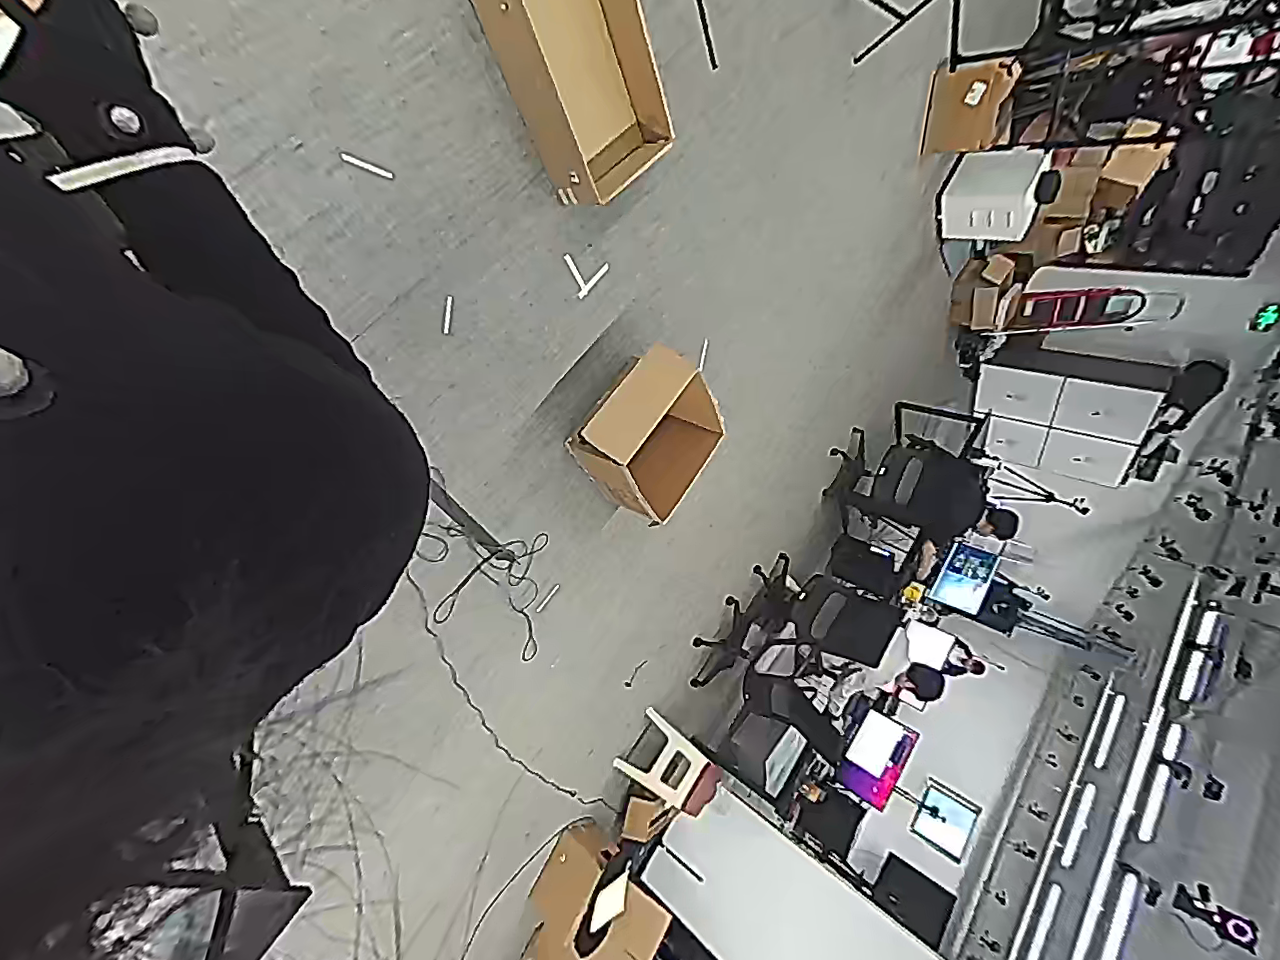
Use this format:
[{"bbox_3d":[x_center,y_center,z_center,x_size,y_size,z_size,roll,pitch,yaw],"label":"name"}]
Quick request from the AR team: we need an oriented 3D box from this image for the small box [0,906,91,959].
[{"bbox_3d":[-0.732,0.587,0.564,0.179,0.176,0.168,-57,142,-14],"label":"small box"}]
